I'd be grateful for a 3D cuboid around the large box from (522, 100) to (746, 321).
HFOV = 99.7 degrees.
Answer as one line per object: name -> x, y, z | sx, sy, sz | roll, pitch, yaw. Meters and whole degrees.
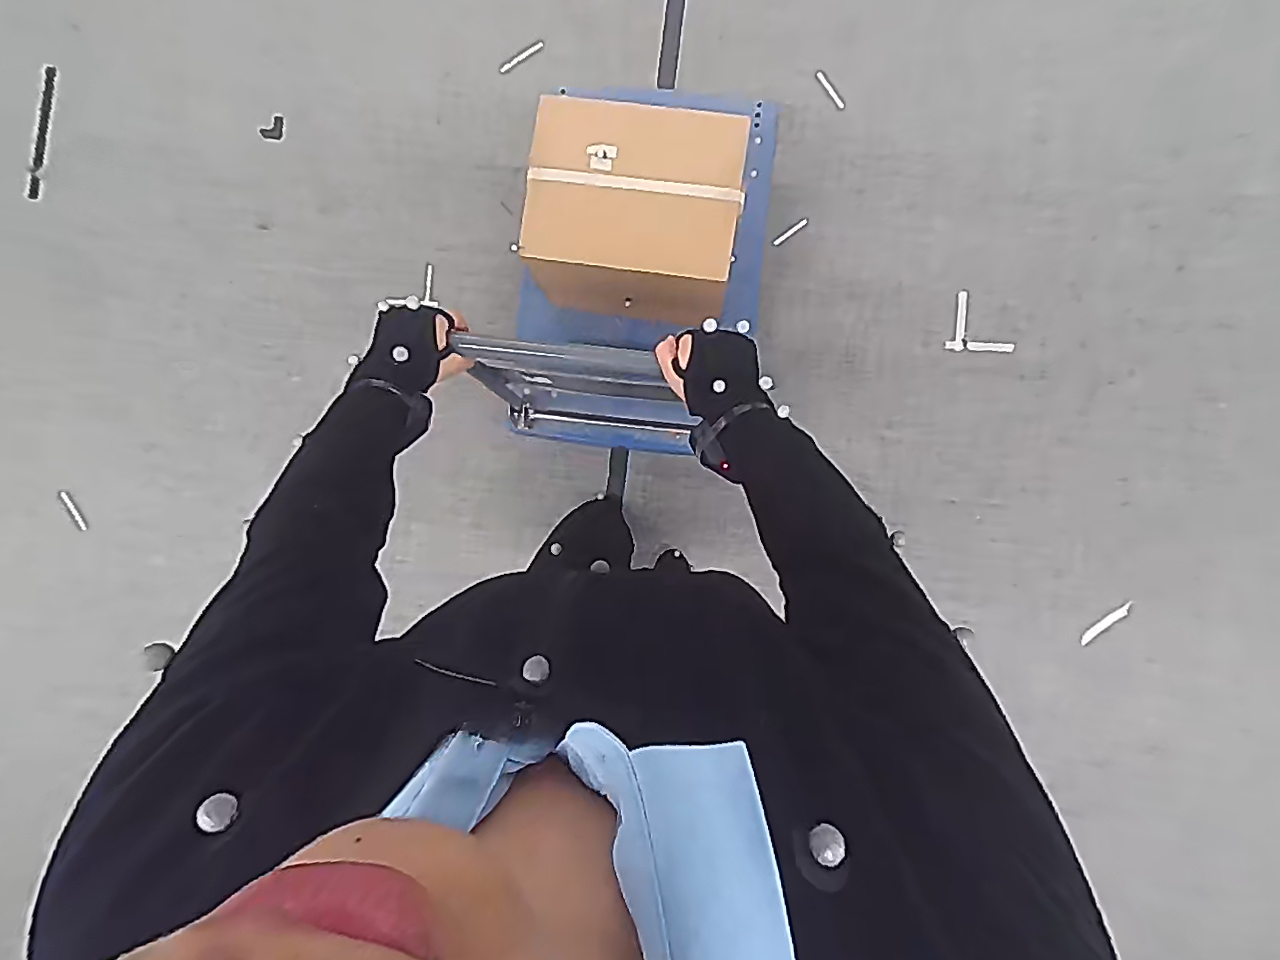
large box -> -0.001, -0.557, 1.176 | 0.408, 0.320, 0.320 | 8, 89, 4
